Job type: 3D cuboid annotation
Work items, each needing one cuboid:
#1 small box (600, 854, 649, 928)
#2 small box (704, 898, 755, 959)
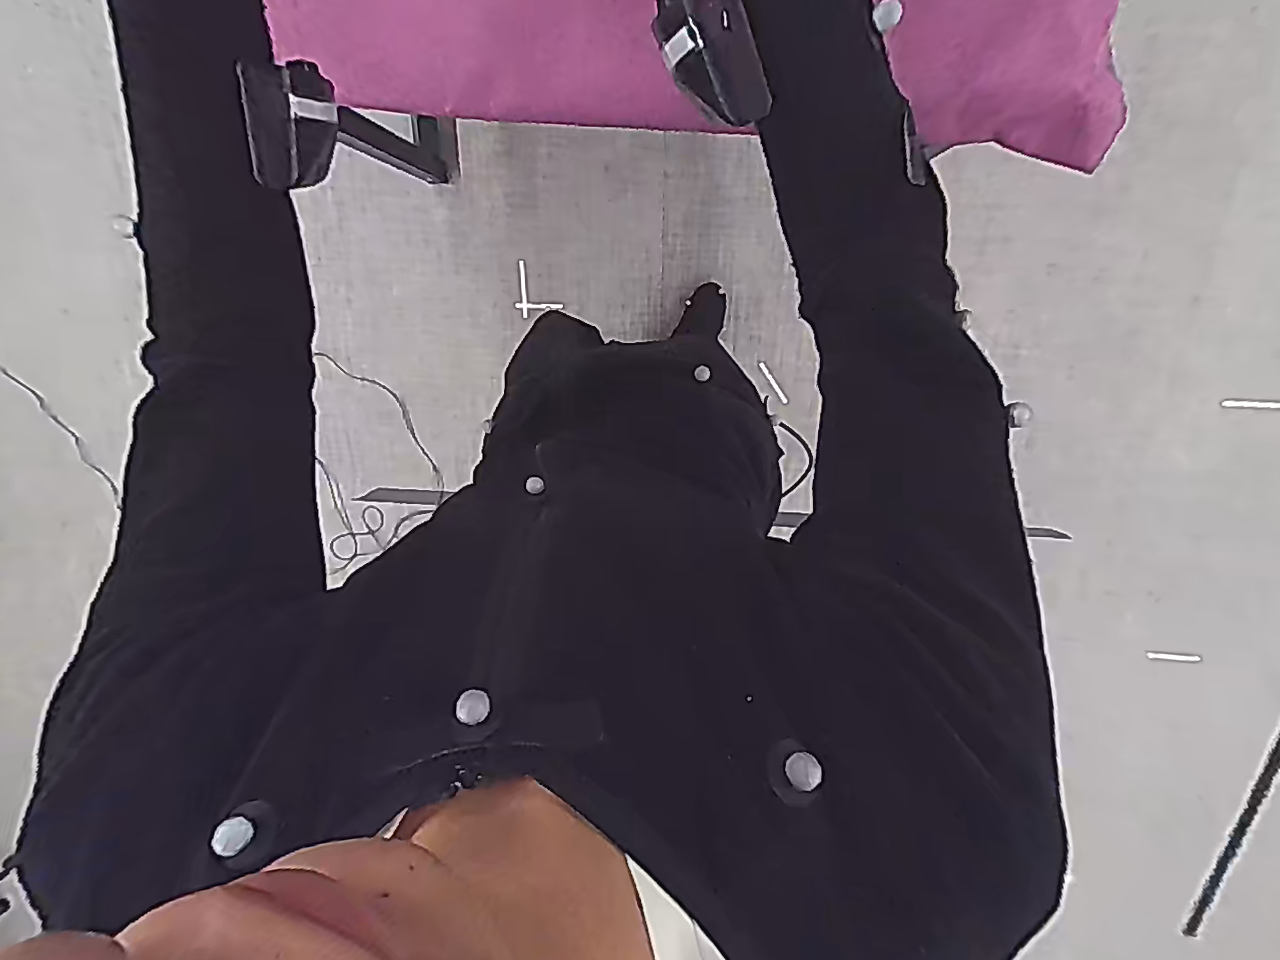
[{"bbox_3d":[-0.059,1.607,2.121,0.179,0.176,0.168,4,108,4],"label":"small box"},{"bbox_3d":[0.317,1.646,1.933,0.168,0.176,0.179,-2,107,4],"label":"small box"}]
